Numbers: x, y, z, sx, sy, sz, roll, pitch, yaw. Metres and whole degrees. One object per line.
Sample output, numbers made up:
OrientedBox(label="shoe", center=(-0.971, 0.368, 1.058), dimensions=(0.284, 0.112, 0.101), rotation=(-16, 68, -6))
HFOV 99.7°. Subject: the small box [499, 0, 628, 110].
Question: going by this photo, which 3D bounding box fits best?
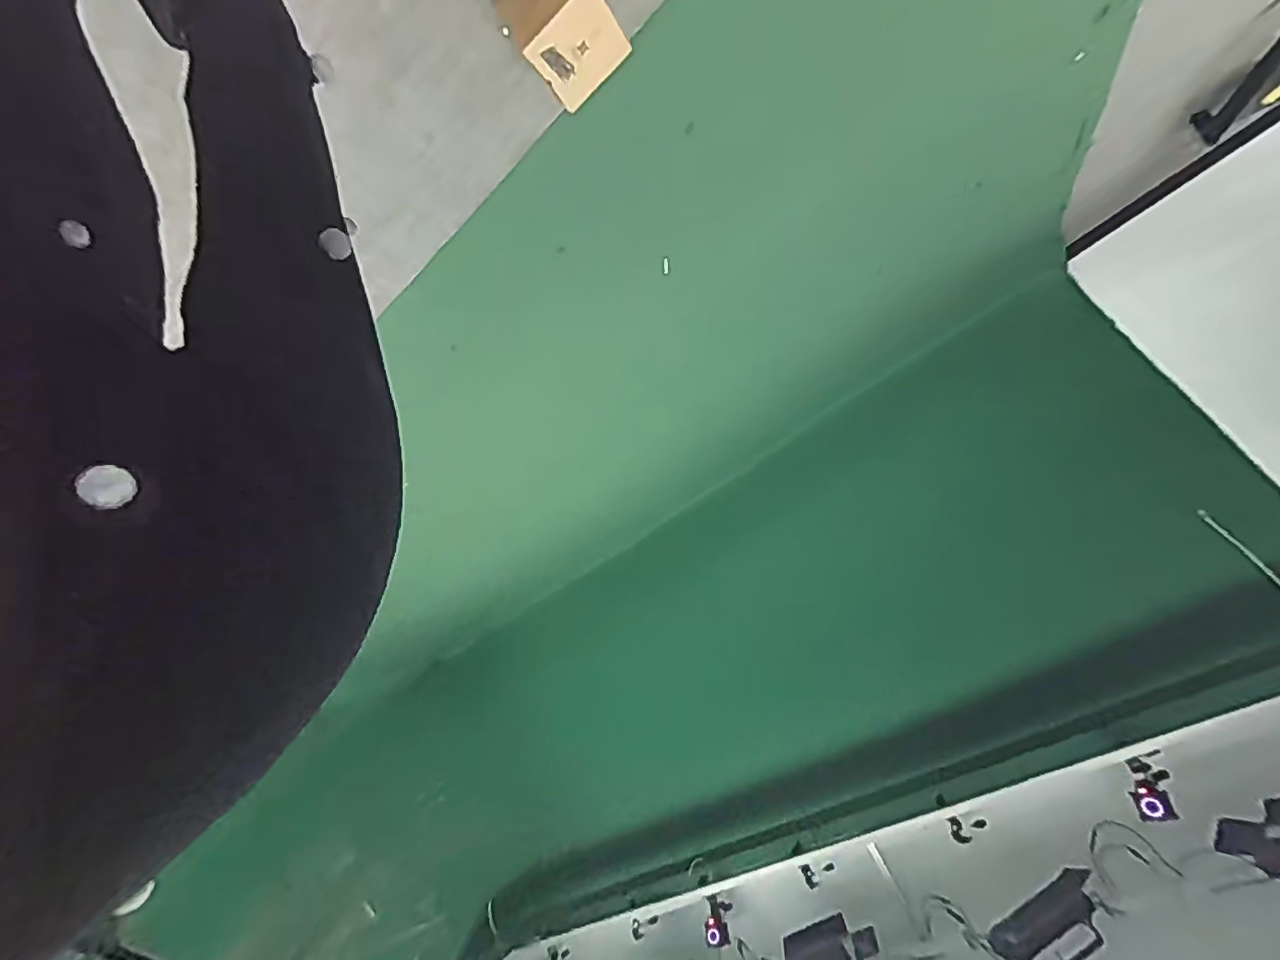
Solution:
OrientedBox(label="small box", center=(-0.161, -0.916, 1.090), dimensions=(0.179, 0.176, 0.168), rotation=(-35, 159, 19))
